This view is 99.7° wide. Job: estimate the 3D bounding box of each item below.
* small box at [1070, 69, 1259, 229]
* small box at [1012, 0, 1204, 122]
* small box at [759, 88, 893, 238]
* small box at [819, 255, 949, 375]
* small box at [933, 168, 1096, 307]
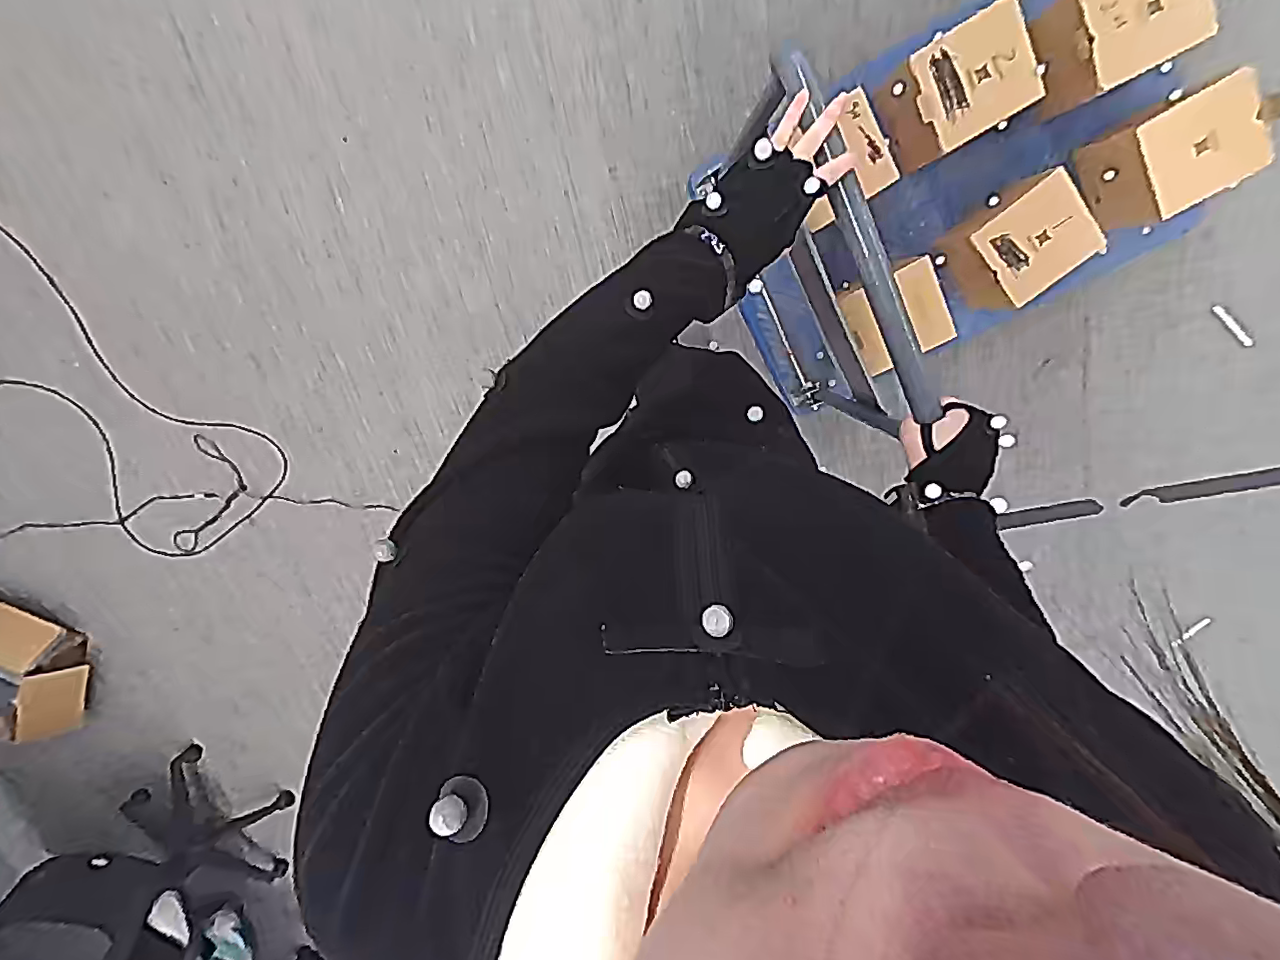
[{"bbox_3d":[0.935,-0.584,0.986,0.179,0.176,0.168,-29,104,12],"label":"small box"},{"bbox_3d":[0.794,-0.765,0.933,0.179,0.176,0.168,-24,105,12],"label":"small box"},{"bbox_3d":[0.338,-0.583,1.025,0.179,0.176,0.168,-29,105,13],"label":"small box"},{"bbox_3d":[0.482,-0.333,1.101,0.179,0.176,0.168,-25,105,11],"label":"small box"},{"bbox_3d":[0.703,-0.454,1.044,0.179,0.176,0.168,-38,102,14],"label":"small box"}]
